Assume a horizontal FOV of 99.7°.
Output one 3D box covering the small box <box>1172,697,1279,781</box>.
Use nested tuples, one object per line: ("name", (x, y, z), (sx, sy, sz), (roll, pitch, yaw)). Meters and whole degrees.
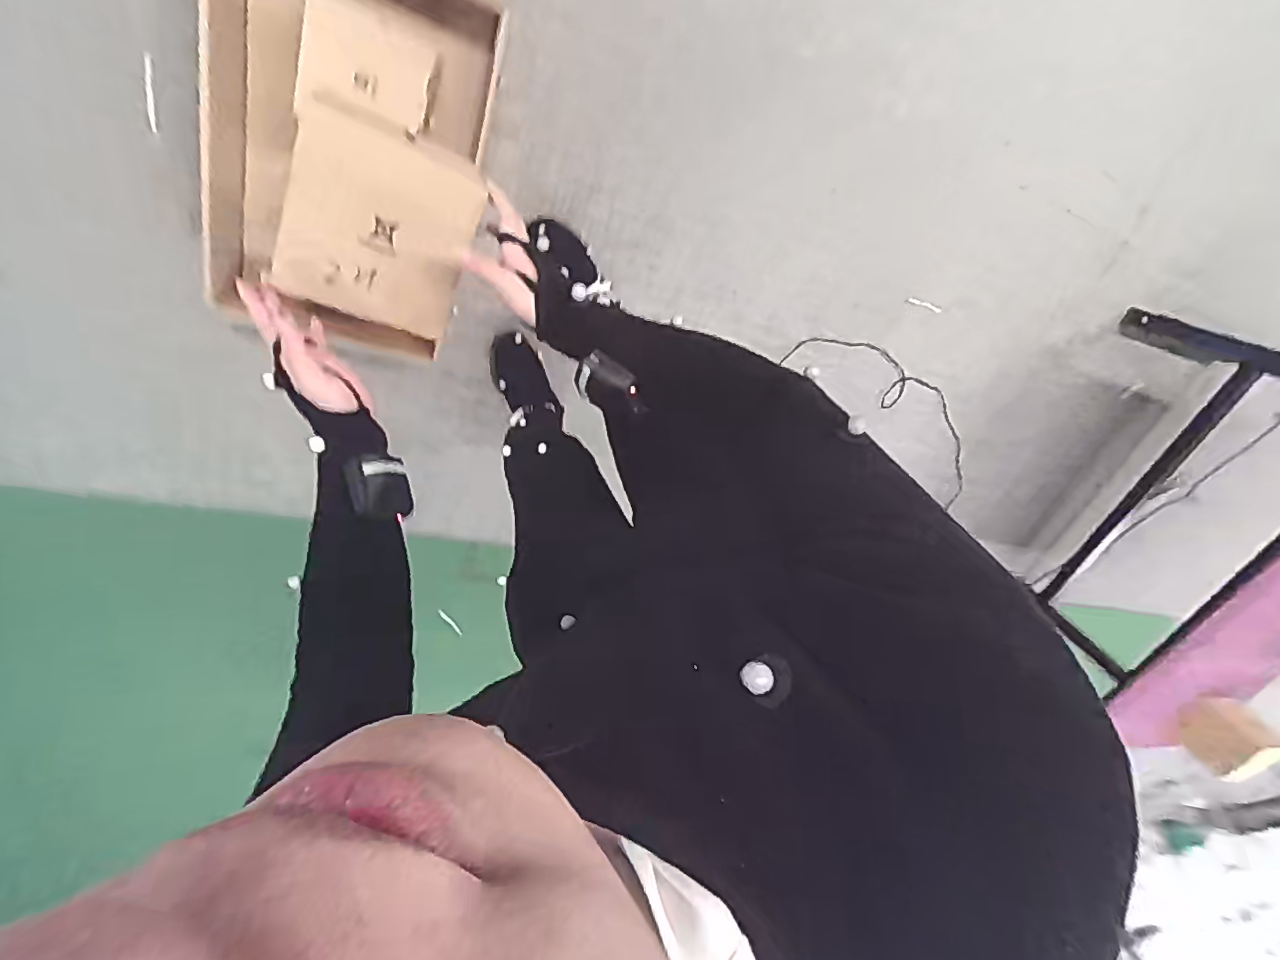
("small box", (1.794, 0.776, 1.634), (0.179, 0.176, 0.168), (8, 119, -21))
